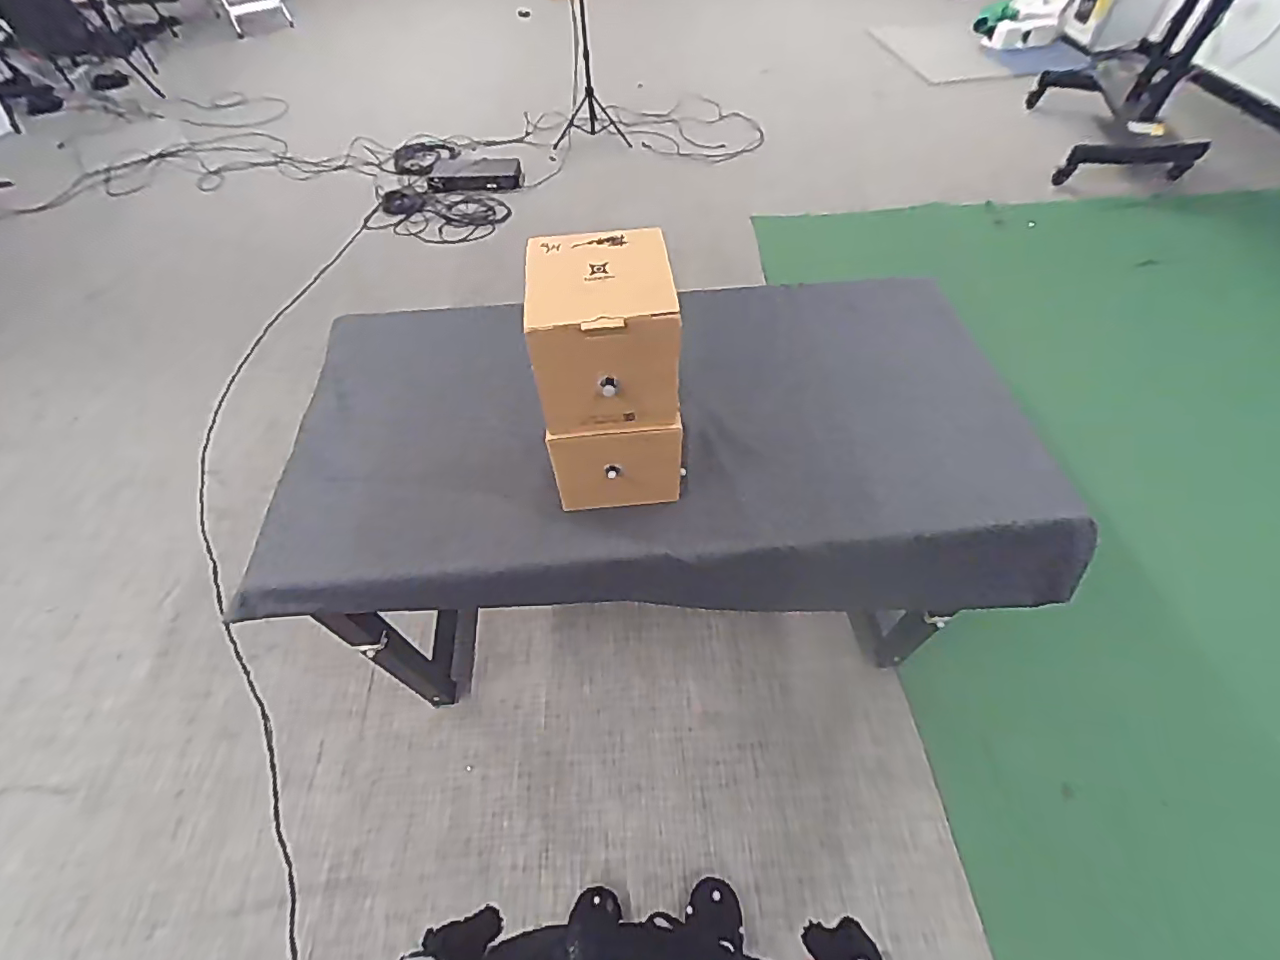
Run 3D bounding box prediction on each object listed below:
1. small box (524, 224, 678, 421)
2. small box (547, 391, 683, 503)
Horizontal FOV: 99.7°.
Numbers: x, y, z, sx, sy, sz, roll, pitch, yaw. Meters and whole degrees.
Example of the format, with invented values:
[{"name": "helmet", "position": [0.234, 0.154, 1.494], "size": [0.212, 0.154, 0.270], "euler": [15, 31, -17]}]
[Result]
[{"name": "small box", "position": [-0.043, -0.187, 0.671], "size": [0.168, 0.176, 0.179], "euler": [-5, 55, -2]}, {"name": "small box", "position": [-0.036, -0.081, 0.796], "size": [0.179, 0.176, 0.168], "euler": [-5, 54, -1]}]
